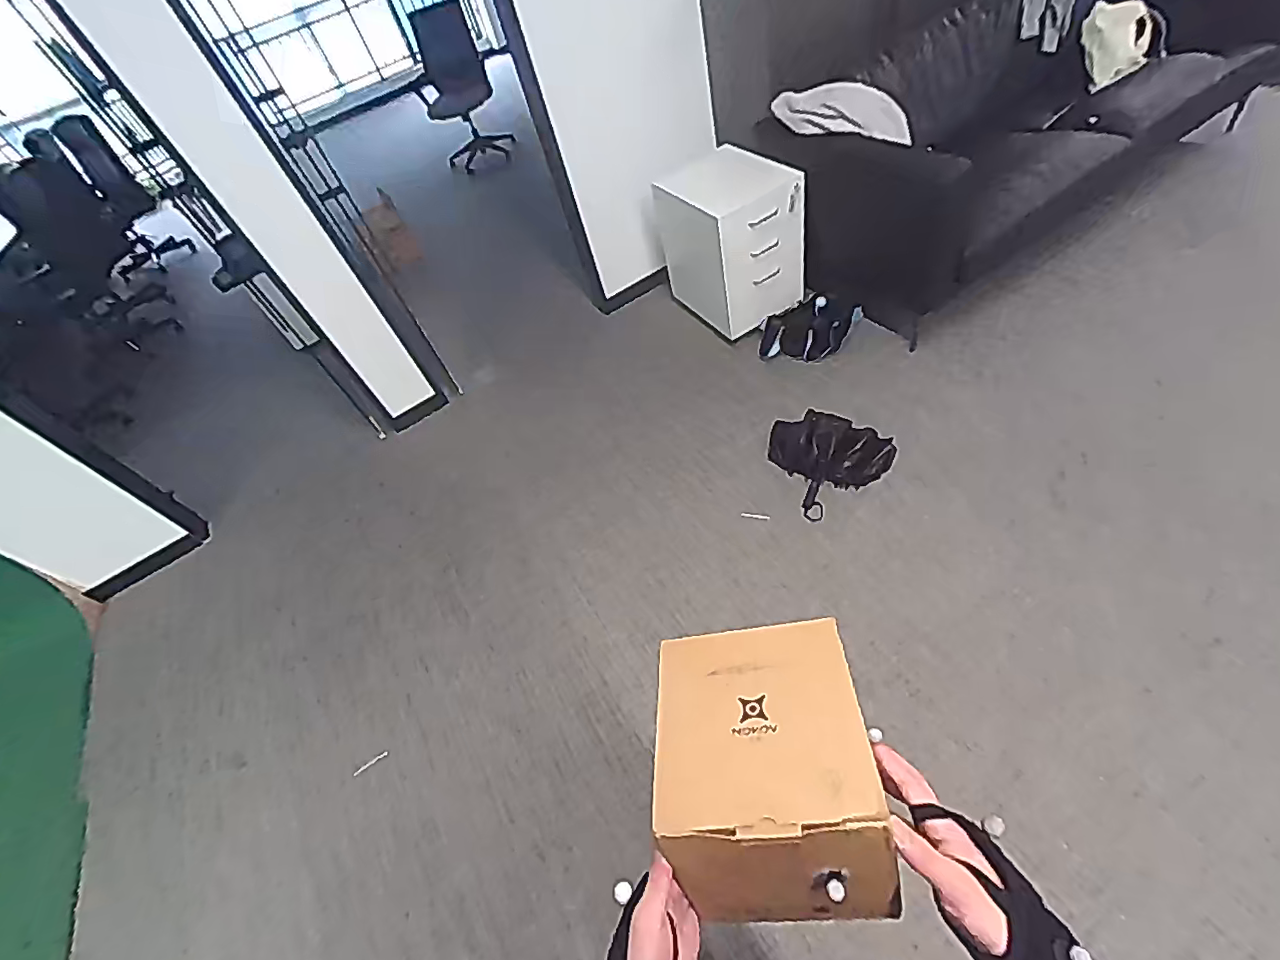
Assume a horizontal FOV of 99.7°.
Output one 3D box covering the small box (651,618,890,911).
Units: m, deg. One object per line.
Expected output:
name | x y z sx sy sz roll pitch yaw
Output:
small box | 0.113 0.254 0.482 0.168 0.176 0.179 -11 31 12
